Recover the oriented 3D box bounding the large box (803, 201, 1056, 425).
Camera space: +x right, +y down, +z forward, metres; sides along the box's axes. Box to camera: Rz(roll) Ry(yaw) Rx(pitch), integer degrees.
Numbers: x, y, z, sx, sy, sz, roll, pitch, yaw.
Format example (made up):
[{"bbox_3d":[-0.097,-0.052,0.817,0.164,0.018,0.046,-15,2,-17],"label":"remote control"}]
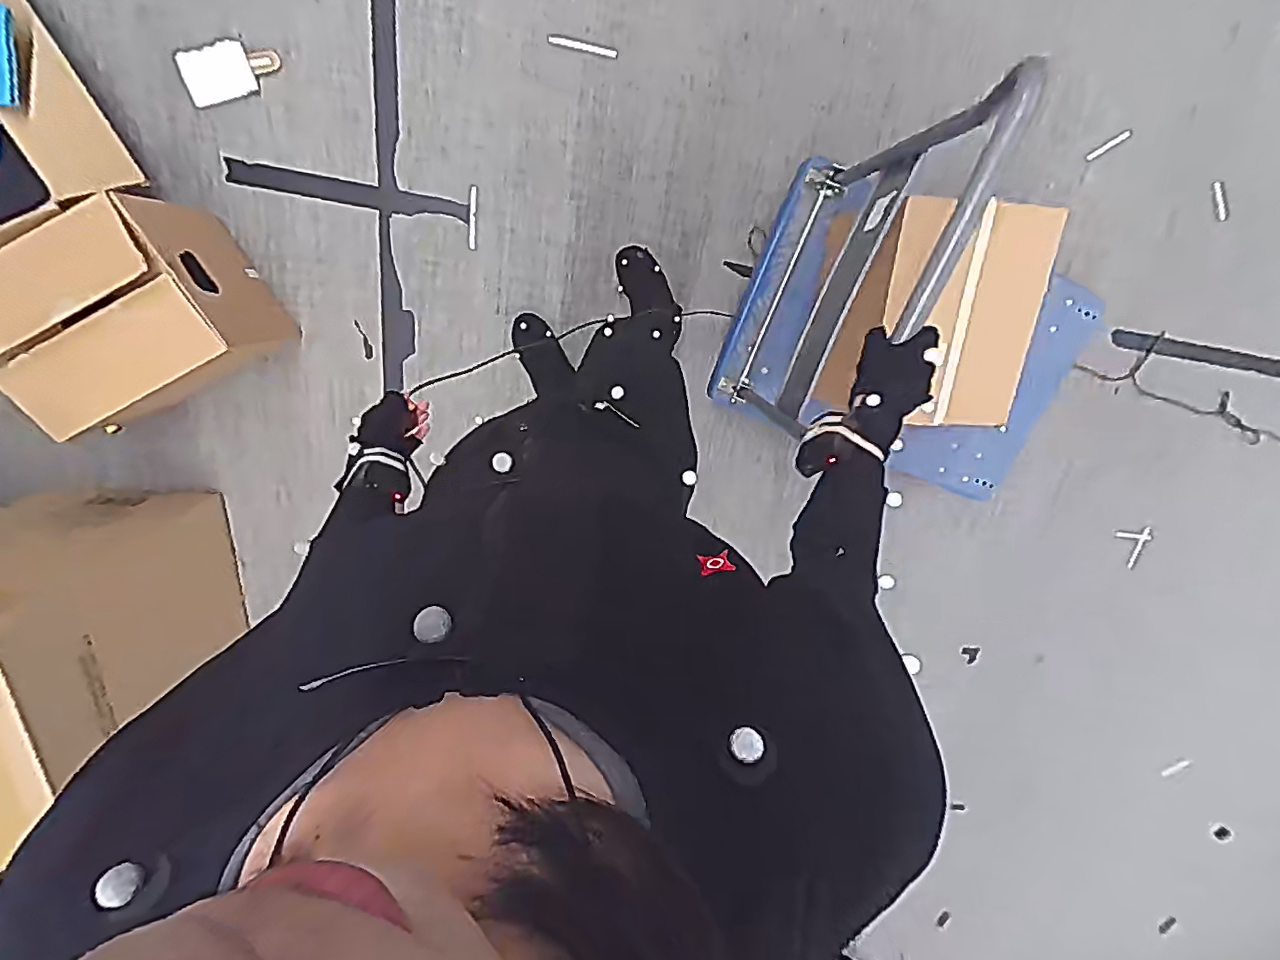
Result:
[{"bbox_3d":[0.577,-0.351,1.160,0.320,0.320,0.408,1,110,-7],"label":"large box"}]
